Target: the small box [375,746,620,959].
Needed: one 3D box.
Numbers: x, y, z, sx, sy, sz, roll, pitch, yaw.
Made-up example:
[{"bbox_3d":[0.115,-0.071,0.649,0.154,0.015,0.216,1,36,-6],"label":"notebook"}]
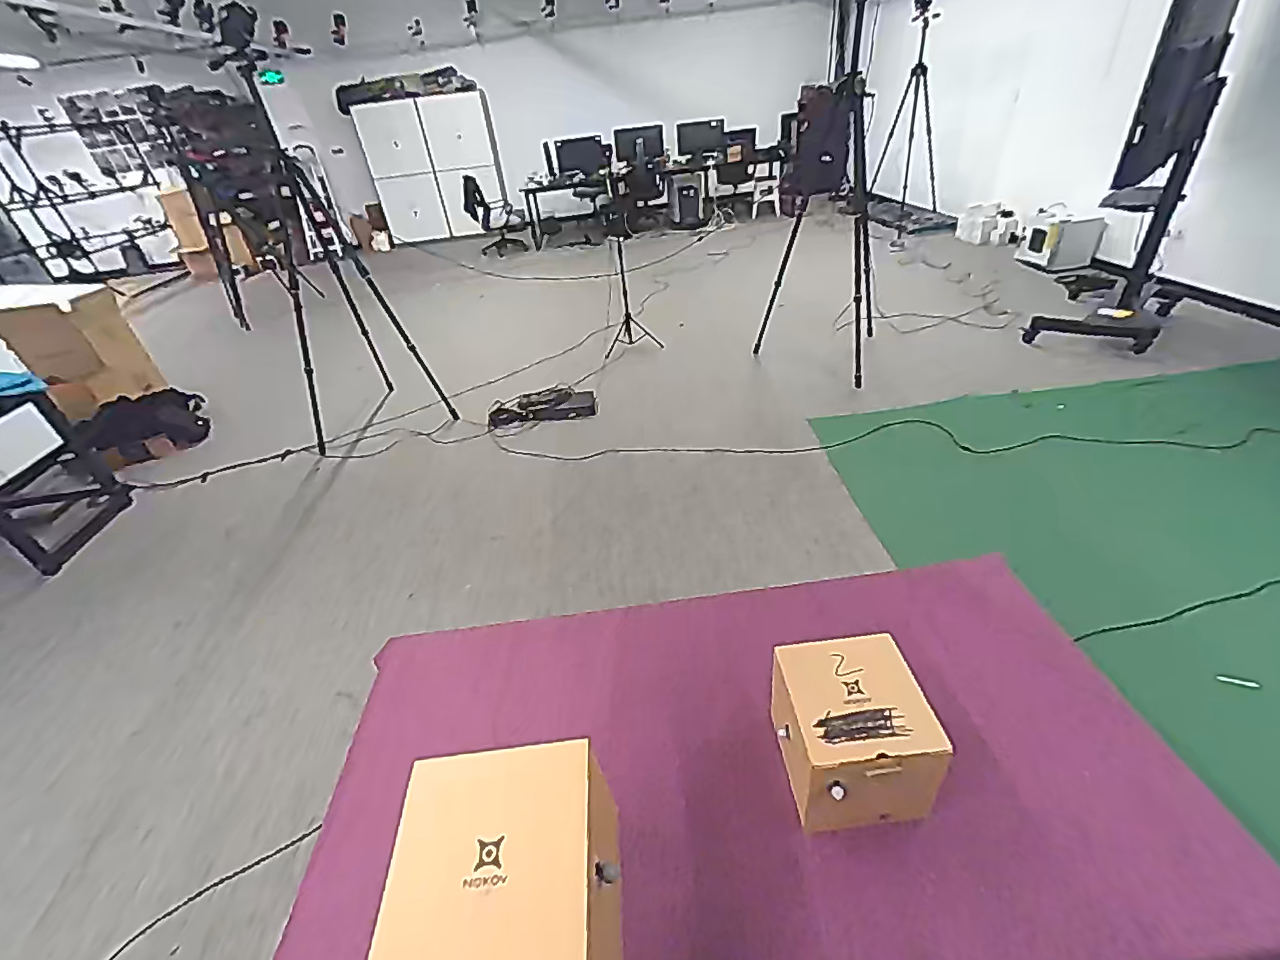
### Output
[{"bbox_3d":[-0.112,0.376,0.498,0.168,0.176,0.179,-9,42,2],"label":"small box"}]
